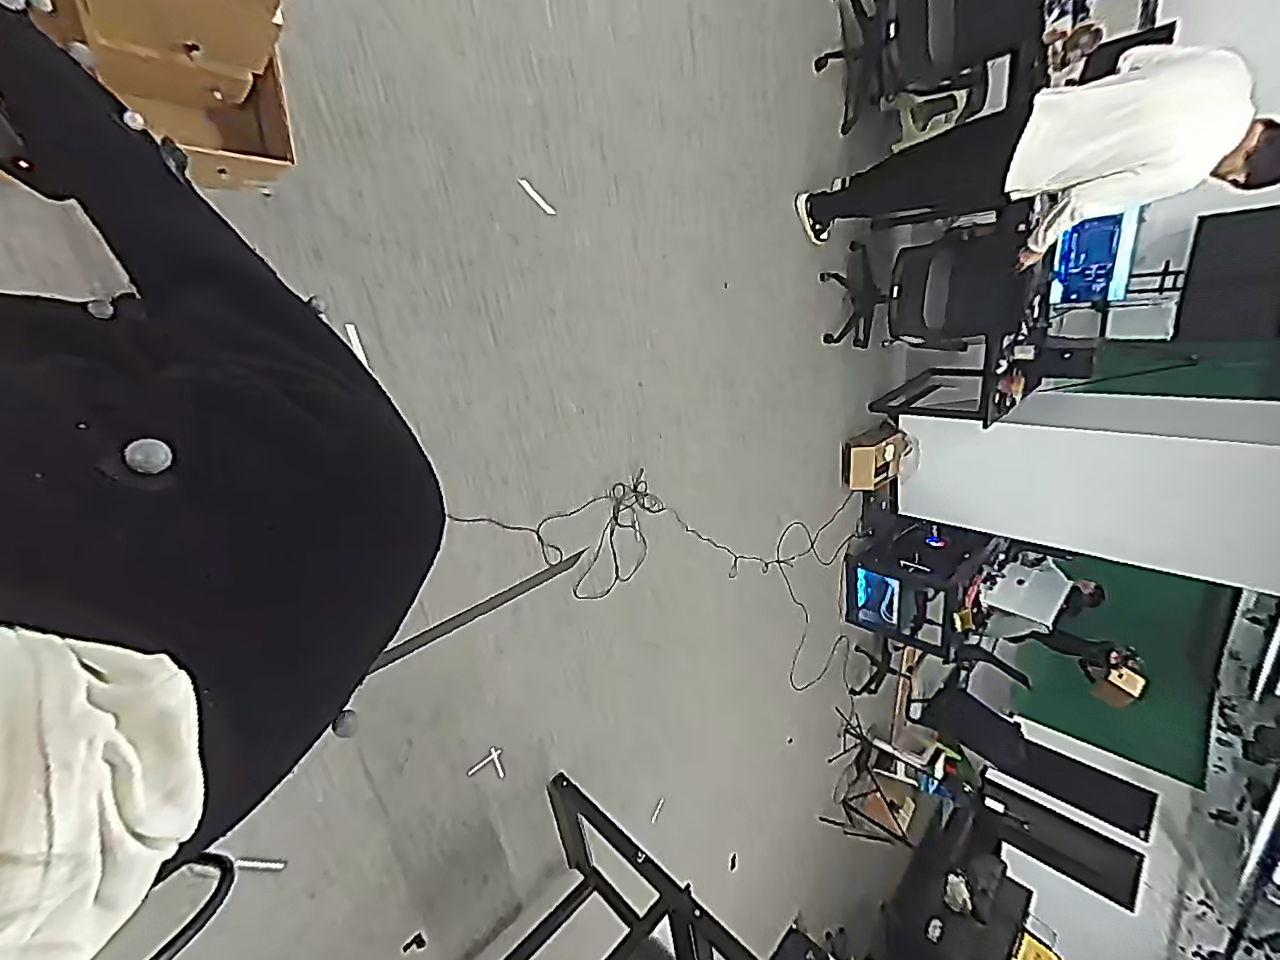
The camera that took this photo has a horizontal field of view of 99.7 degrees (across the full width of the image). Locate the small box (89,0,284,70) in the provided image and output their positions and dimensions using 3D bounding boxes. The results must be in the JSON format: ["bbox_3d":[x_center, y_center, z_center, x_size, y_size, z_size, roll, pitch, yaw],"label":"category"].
[{"bbox_3d":[-0.588,-0.656,0.684,0.179,0.176,0.168,-18,111,-41],"label":"small box"}]
